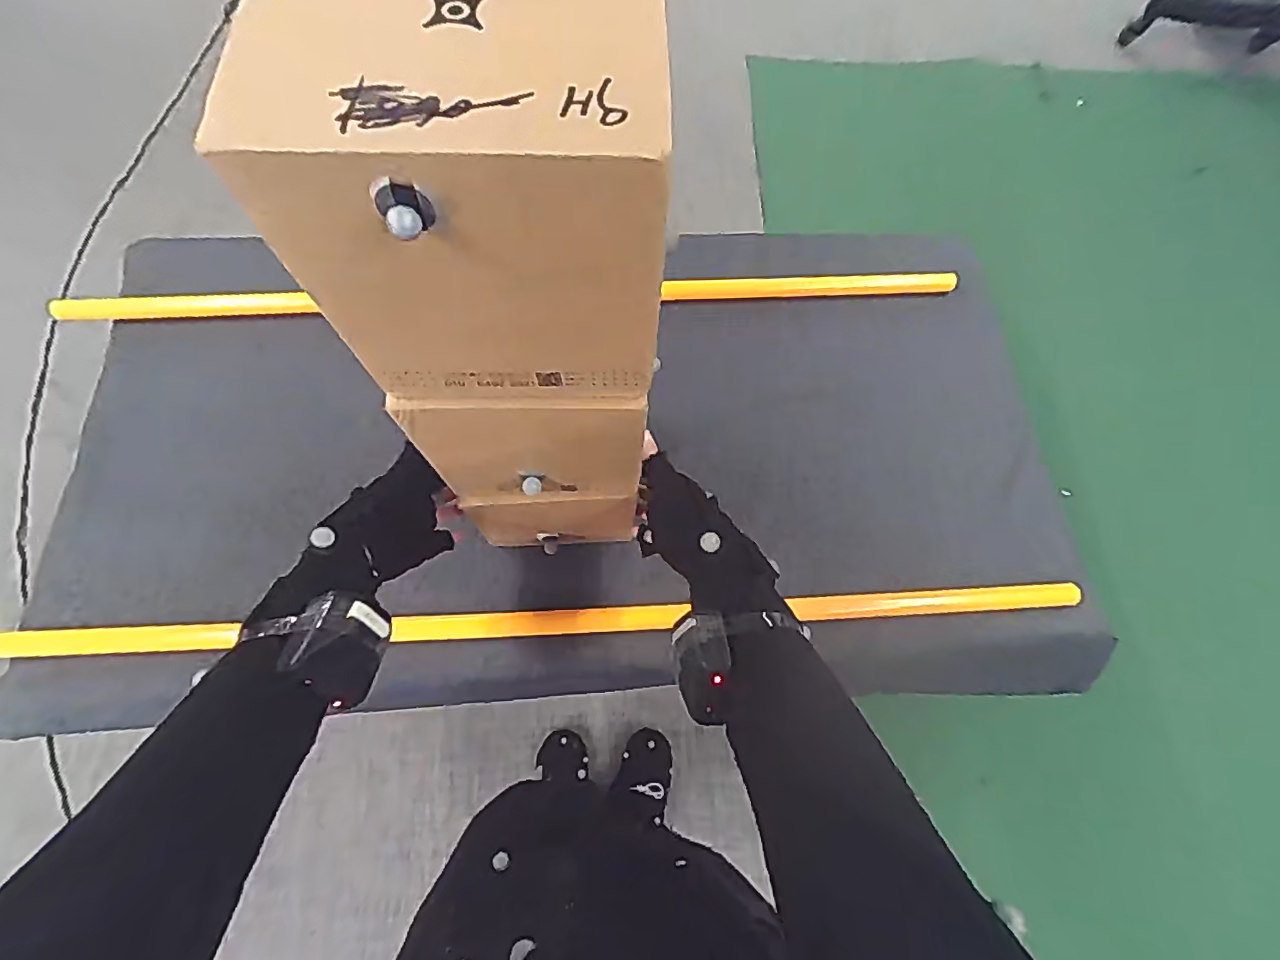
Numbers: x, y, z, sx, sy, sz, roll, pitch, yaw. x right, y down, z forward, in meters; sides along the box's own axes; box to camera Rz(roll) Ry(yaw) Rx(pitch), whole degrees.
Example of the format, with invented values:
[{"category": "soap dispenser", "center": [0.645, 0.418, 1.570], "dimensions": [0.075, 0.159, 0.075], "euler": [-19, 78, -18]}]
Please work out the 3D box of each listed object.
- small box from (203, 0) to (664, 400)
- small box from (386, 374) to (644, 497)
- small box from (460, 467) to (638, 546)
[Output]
[{"category": "small box", "center": [-0.076, -0.162, 0.298], "dimensions": [0.168, 0.176, 0.179], "euler": [-1, 68, -2]}, {"category": "small box", "center": [-0.083, -0.097, 0.448], "dimensions": [0.168, 0.176, 0.179], "euler": [0, 70, -2]}, {"category": "small box", "center": [-0.092, -0.034, 0.600], "dimensions": [0.168, 0.176, 0.179], "euler": [-4, 71, -3]}]
